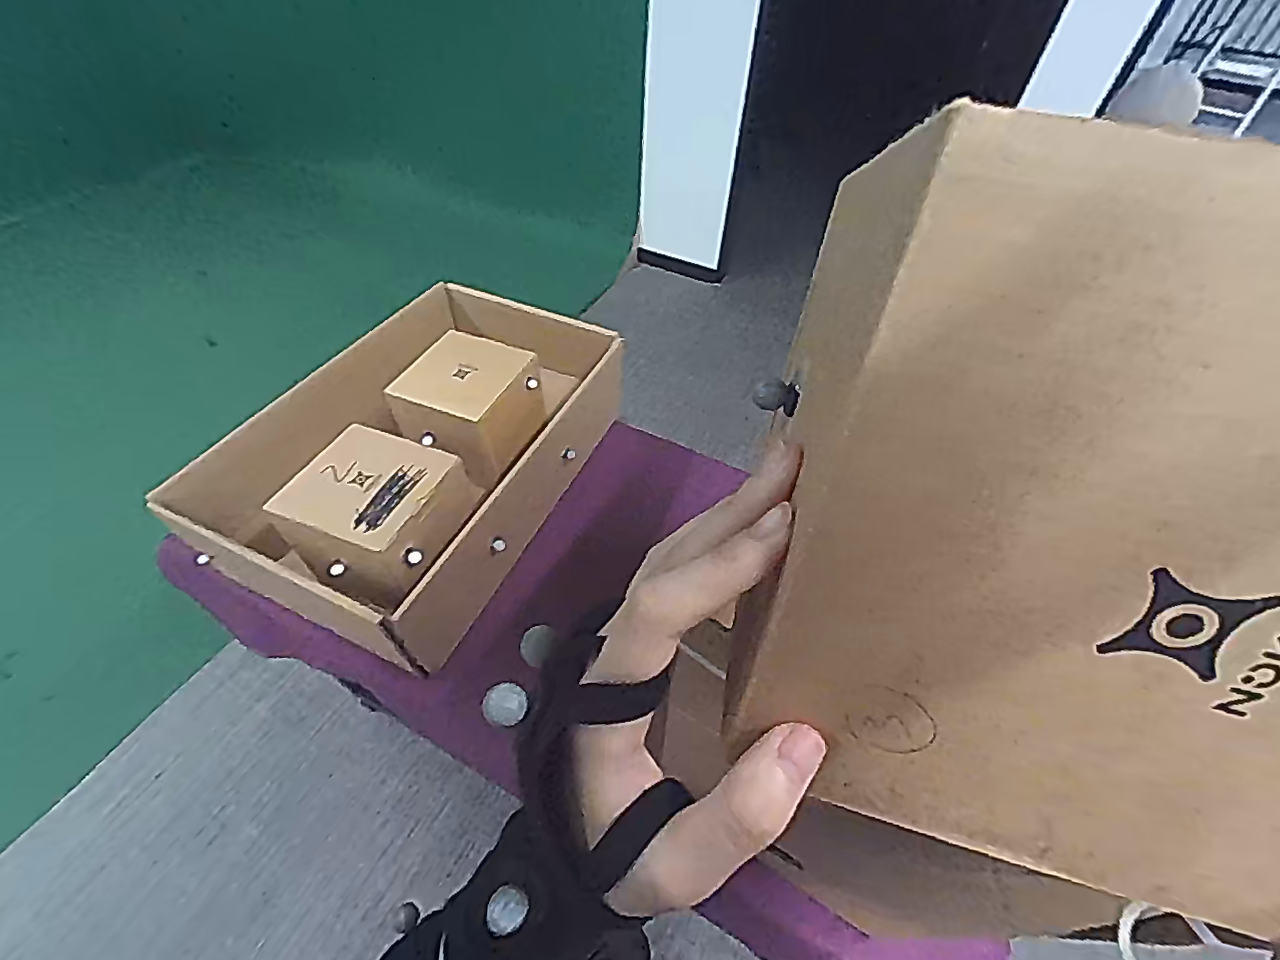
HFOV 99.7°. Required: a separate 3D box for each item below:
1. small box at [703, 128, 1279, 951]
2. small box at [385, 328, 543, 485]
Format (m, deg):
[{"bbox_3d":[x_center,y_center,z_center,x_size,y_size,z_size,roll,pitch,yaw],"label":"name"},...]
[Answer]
[{"bbox_3d":[0.133,0.000,0.187,0.179,0.168,0.176,15,28,7],"label":"small box"},{"bbox_3d":[-0.275,-0.119,0.896,0.168,0.176,0.179,18,51,13],"label":"small box"}]
